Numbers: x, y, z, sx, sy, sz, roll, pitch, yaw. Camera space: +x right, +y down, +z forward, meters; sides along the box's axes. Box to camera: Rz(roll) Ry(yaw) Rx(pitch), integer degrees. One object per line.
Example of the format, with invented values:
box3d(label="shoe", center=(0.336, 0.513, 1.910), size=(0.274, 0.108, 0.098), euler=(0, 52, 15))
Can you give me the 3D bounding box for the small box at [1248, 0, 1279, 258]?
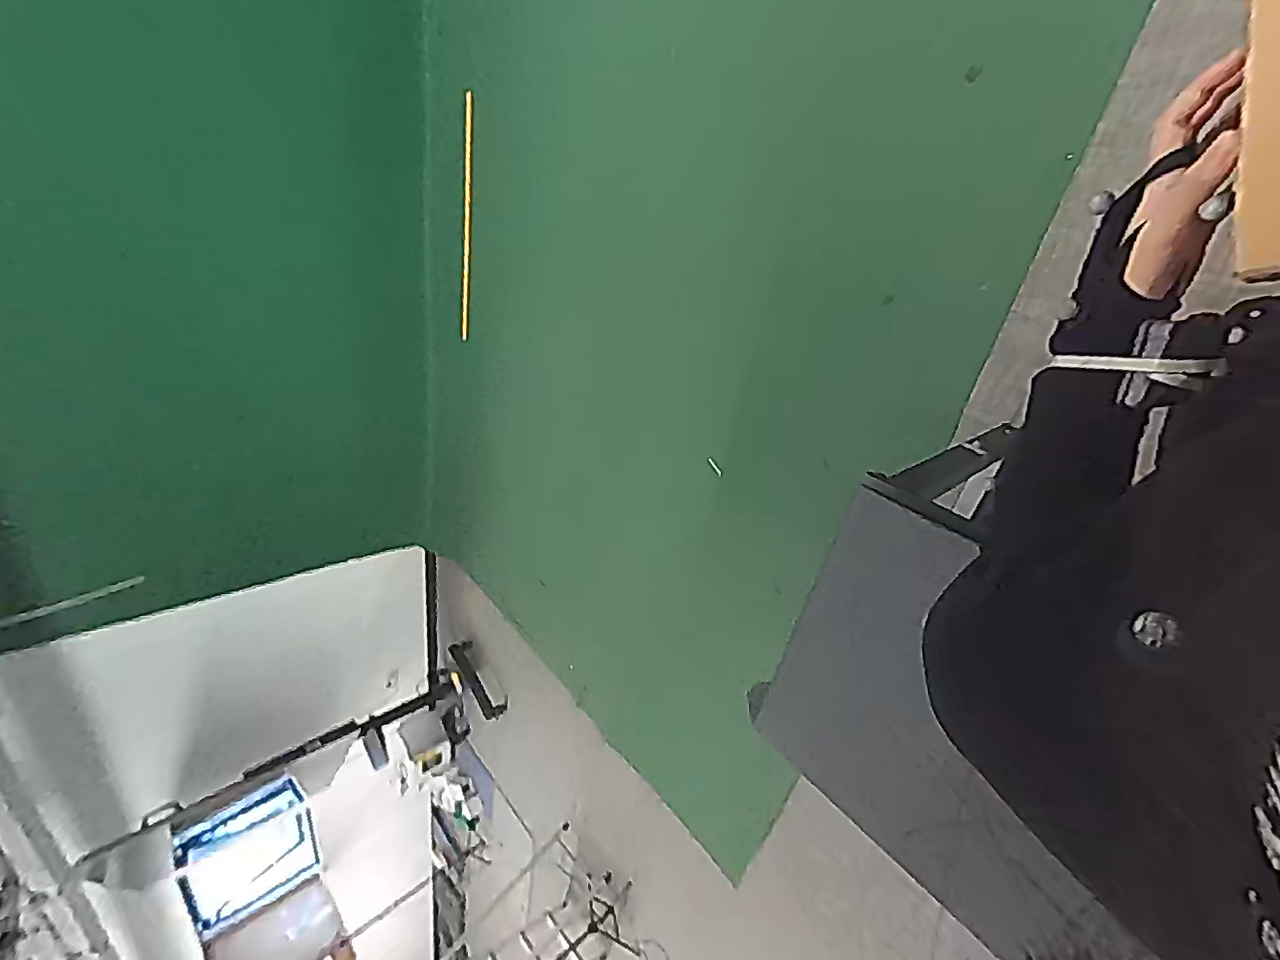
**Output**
box3d(label="small box", center=(0.417, -0.213, 0.255), size=(0.168, 0.176, 0.179), euler=(4, 107, 49))
